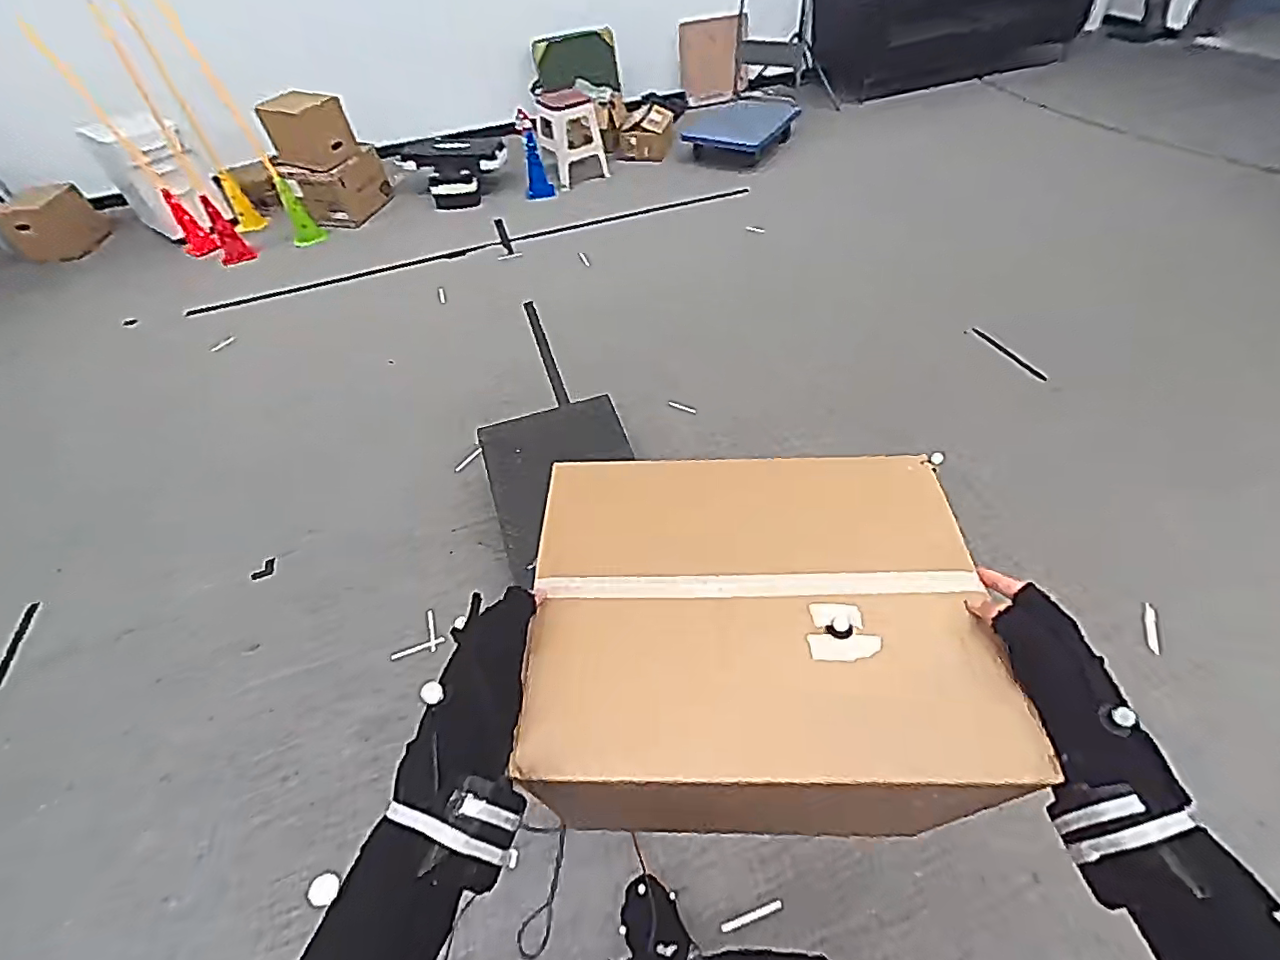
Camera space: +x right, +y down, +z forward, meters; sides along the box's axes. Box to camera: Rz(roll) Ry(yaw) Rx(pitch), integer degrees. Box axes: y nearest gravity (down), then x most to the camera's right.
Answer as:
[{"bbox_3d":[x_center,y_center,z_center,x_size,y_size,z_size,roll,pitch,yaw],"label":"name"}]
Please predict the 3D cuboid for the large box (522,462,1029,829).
[{"bbox_3d":[0.107,0.198,0.627,0.408,0.320,0.320,-1,51,2],"label":"large box"}]
